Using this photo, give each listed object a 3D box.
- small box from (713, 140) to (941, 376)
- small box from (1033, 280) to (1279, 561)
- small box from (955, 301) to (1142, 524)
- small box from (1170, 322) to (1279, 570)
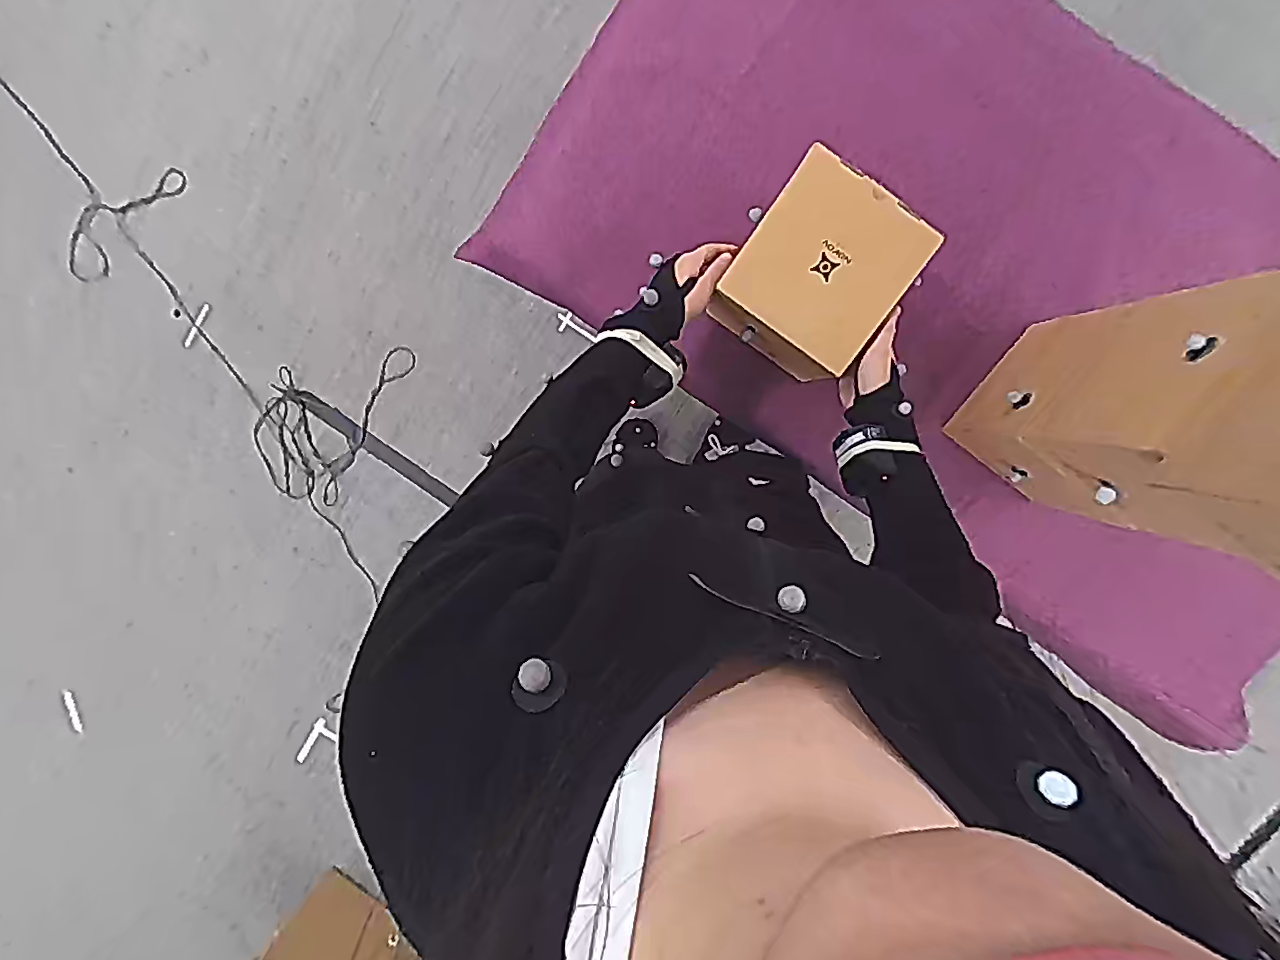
[{"bbox_3d":[0.199,-0.238,0.637,0.168,0.176,0.179,35,97,-2],"label":"small box"},{"bbox_3d":[0.511,-0.055,0.478,0.168,0.176,0.179,37,99,-2],"label":"small box"},{"bbox_3d":[0.516,-0.077,0.641,0.168,0.176,0.179,37,98,-3],"label":"small box"},{"bbox_3d":[0.490,-0.013,0.321,0.168,0.176,0.179,34,98,-2],"label":"small box"}]
